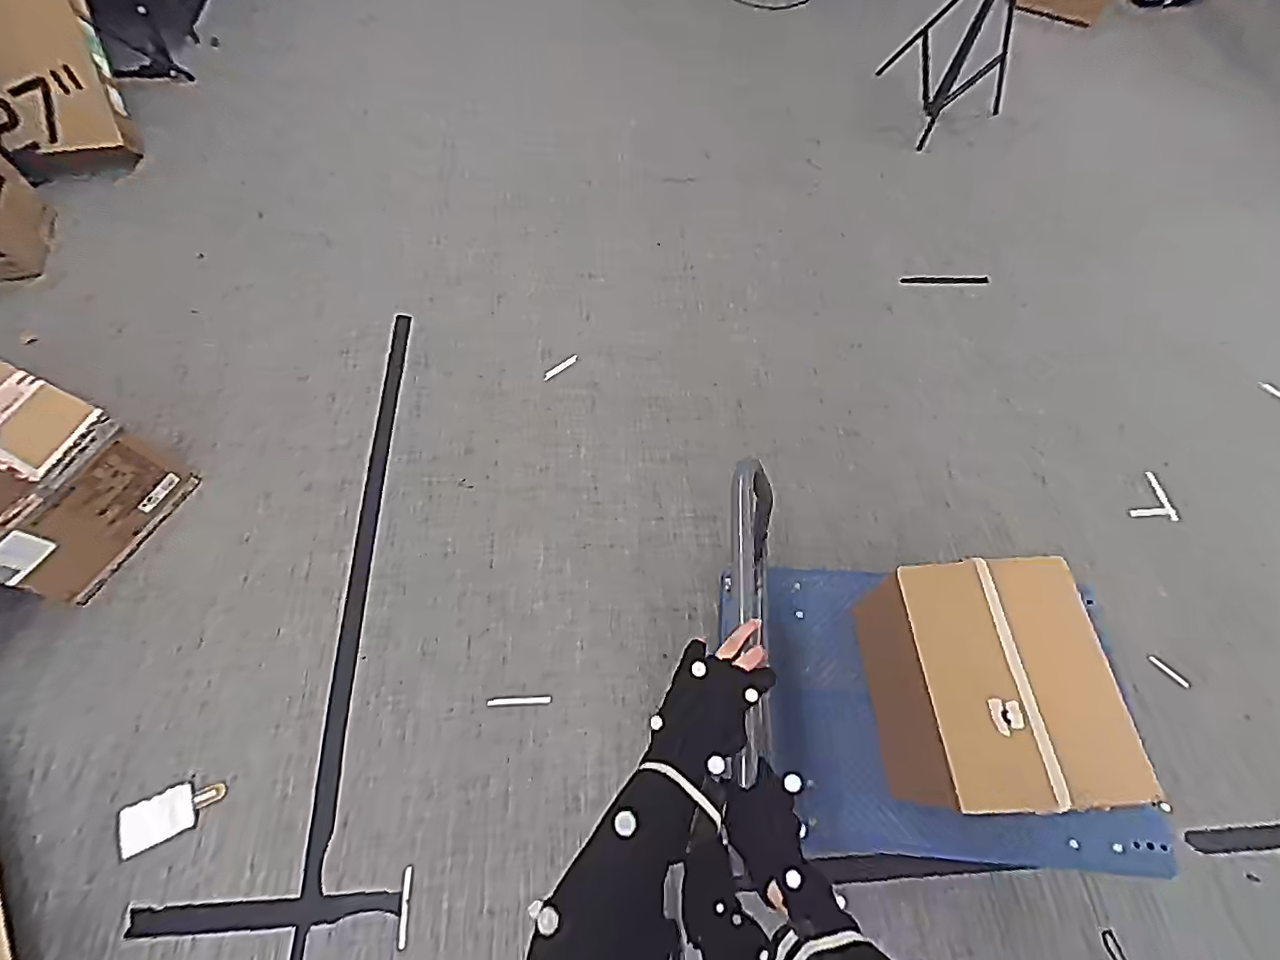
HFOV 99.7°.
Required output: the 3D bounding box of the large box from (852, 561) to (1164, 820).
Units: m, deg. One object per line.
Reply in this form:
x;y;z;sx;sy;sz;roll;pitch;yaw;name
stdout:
0.654;0.405;1.059;0.320;0.320;0.408;-5;63;3;large box
